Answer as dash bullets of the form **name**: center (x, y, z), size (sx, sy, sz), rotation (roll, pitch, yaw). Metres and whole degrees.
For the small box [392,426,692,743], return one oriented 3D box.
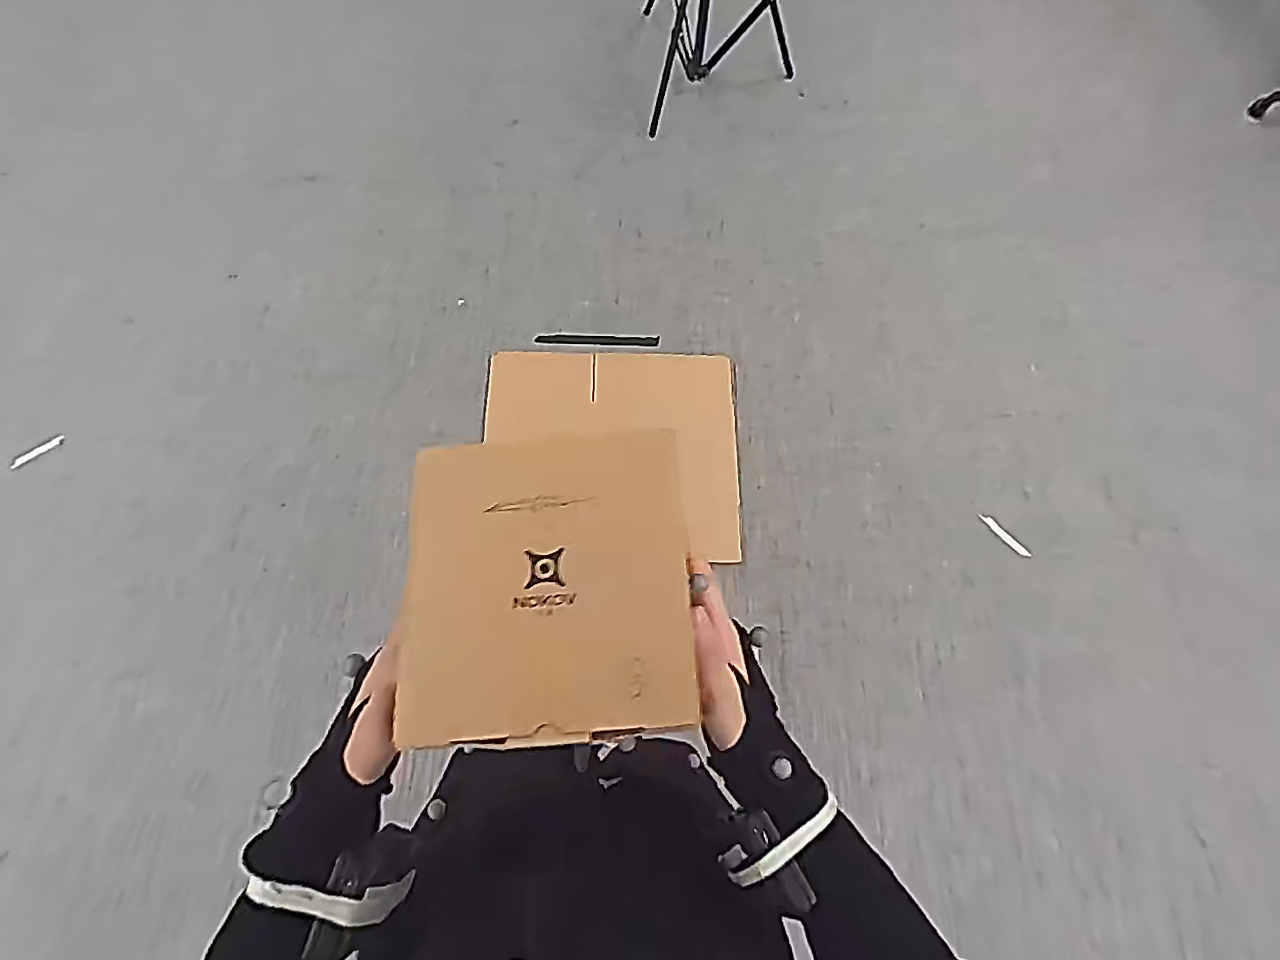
- **small box**: center (-0.055, 0.079, 0.389), size (0.168, 0.176, 0.179), rotation (-4, 69, -1)
